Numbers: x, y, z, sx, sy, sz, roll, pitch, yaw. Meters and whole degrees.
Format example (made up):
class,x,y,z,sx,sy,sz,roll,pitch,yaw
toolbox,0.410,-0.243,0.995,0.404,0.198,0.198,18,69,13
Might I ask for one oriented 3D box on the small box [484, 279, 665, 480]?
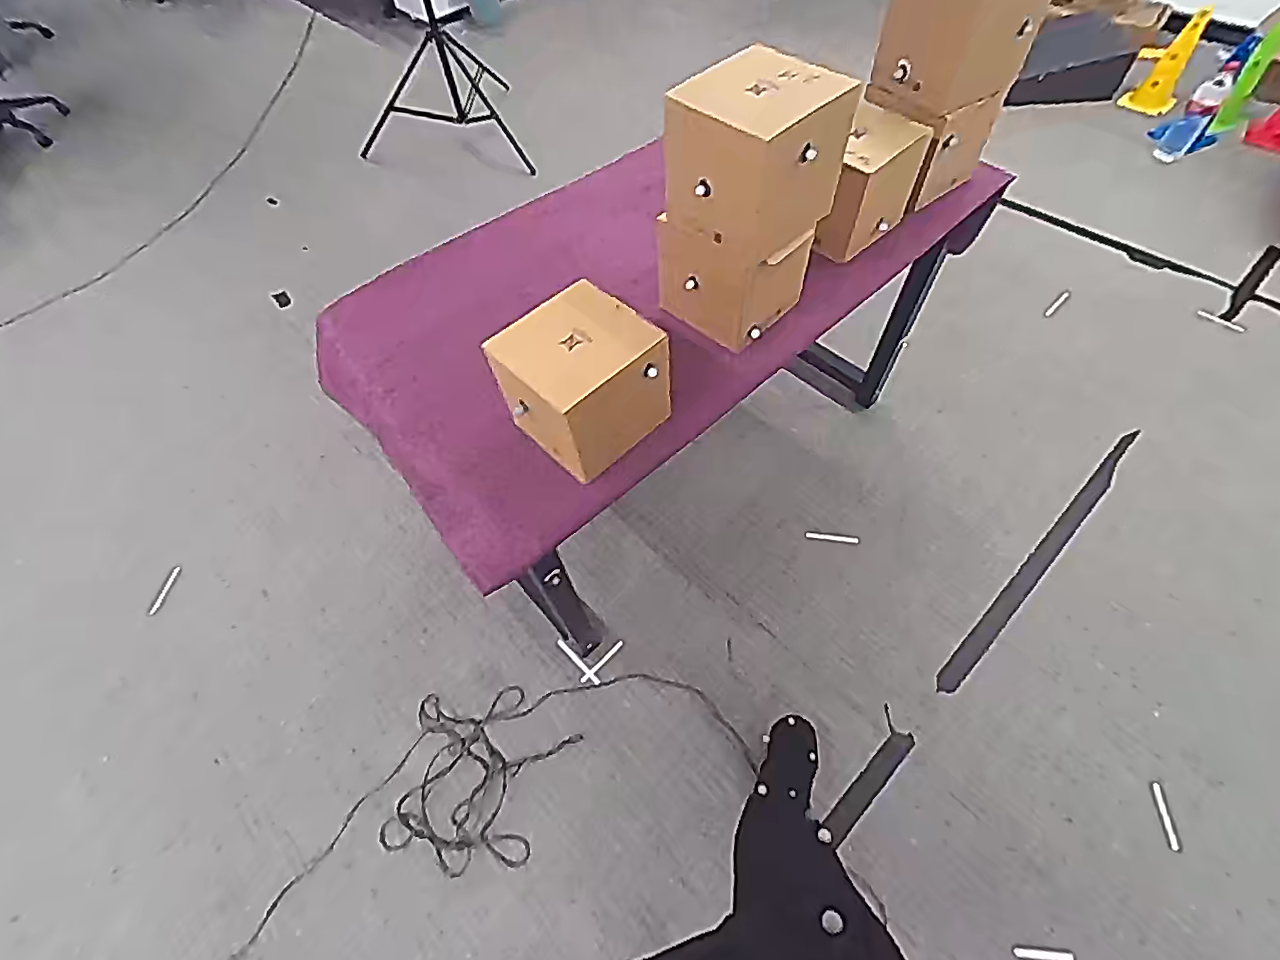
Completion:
class,x,y,z,sx,sy,sz,roll,pitch,yaw
small box,-0.076,-0.132,0.744,0.179,0.176,0.168,-41,65,-20

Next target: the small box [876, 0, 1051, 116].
class,x,y,z,sx,sy,sz,roll,pitch,yaw
small box,0.516,-0.729,0.869,0.179,0.176,0.168,-29,60,-11

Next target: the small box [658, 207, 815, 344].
class,x,y,z,sx,sy,sz,roll,pitch,yaw
small box,0.147,-0.342,0.854,0.179,0.176,0.168,39,69,24

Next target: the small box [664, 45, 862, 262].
class,x,y,z,sx,sy,sz,roll,pitch,yaw
small box,0.151,-0.421,0.709,0.179,0.176,0.168,-39,65,-19
